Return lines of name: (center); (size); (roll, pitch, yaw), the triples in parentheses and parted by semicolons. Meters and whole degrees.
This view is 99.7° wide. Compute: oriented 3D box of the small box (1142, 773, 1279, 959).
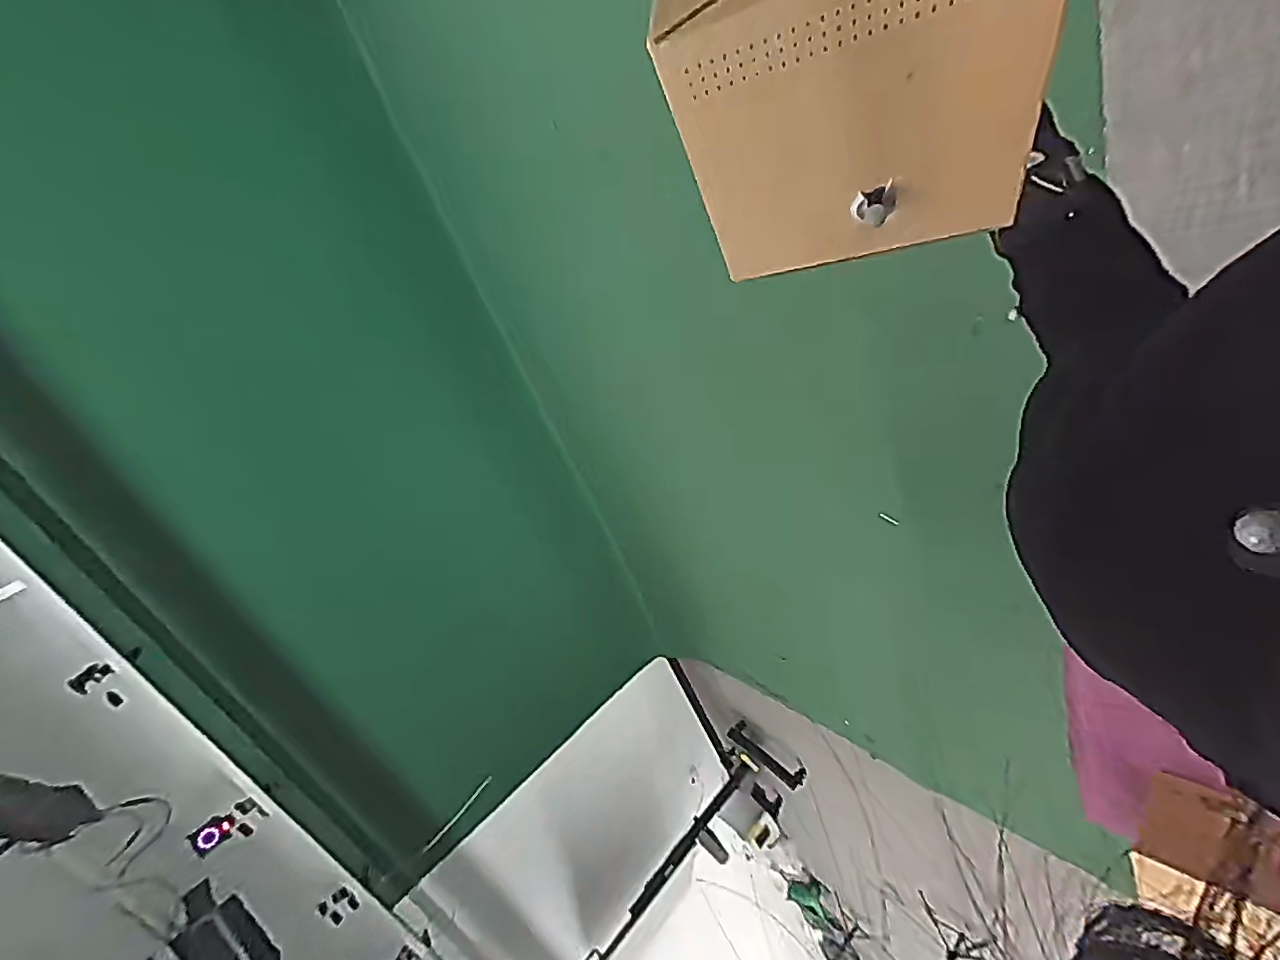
small box: (0.903, 0.598, 0.821); (0.168, 0.176, 0.179); (2, 122, 55)

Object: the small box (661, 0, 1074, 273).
small box: (0.125, -0.258, 0.314); (0.179, 0.168, 0.176); (-5, 156, 22)
